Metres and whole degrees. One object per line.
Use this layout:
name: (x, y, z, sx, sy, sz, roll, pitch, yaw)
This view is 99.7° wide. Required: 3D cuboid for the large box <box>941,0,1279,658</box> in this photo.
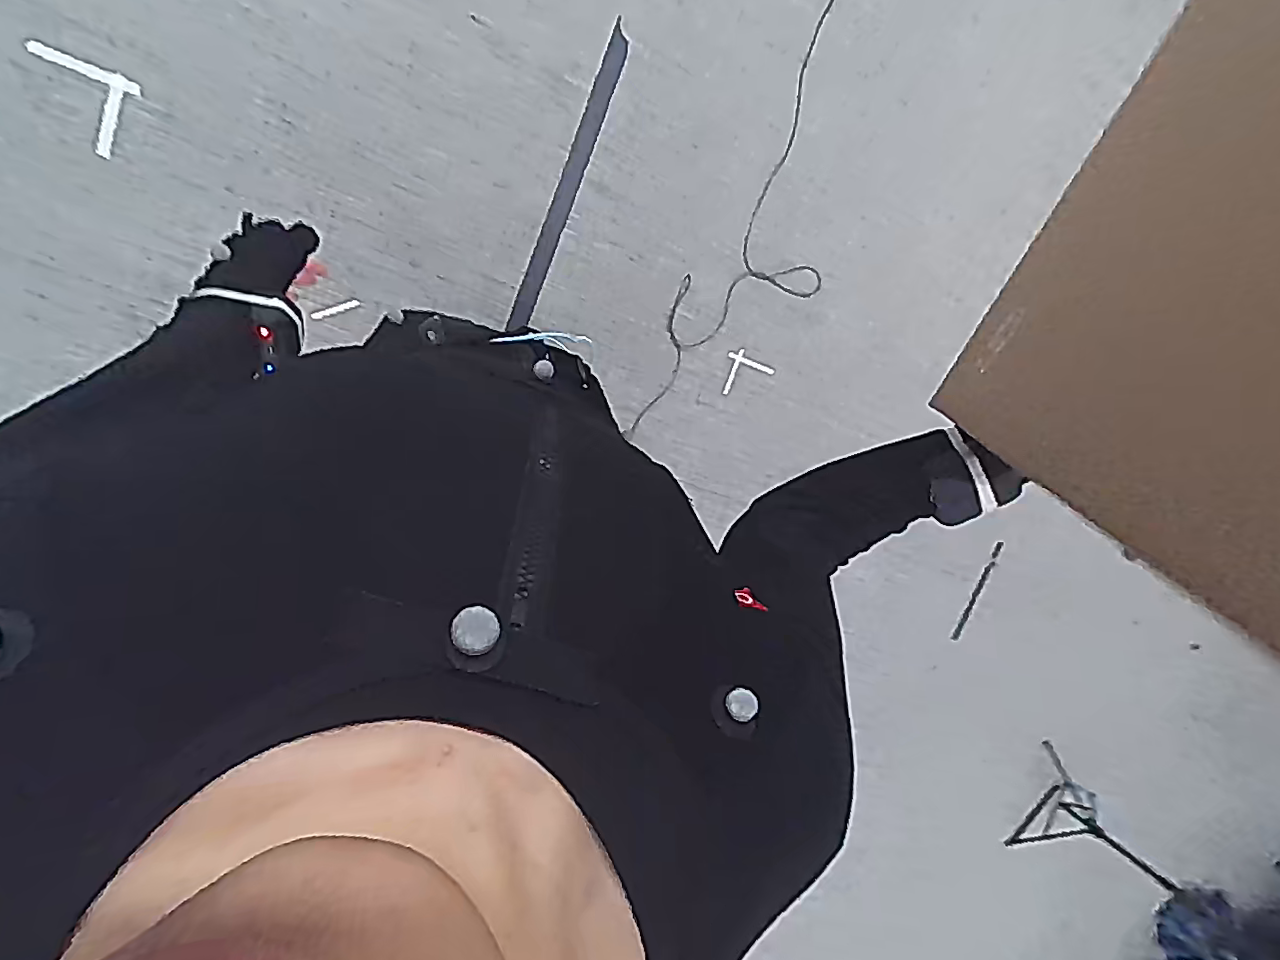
large box: (0.381, -0.071, 0.192, 0.320, 0.408, 0.320, 28, 115, 6)
